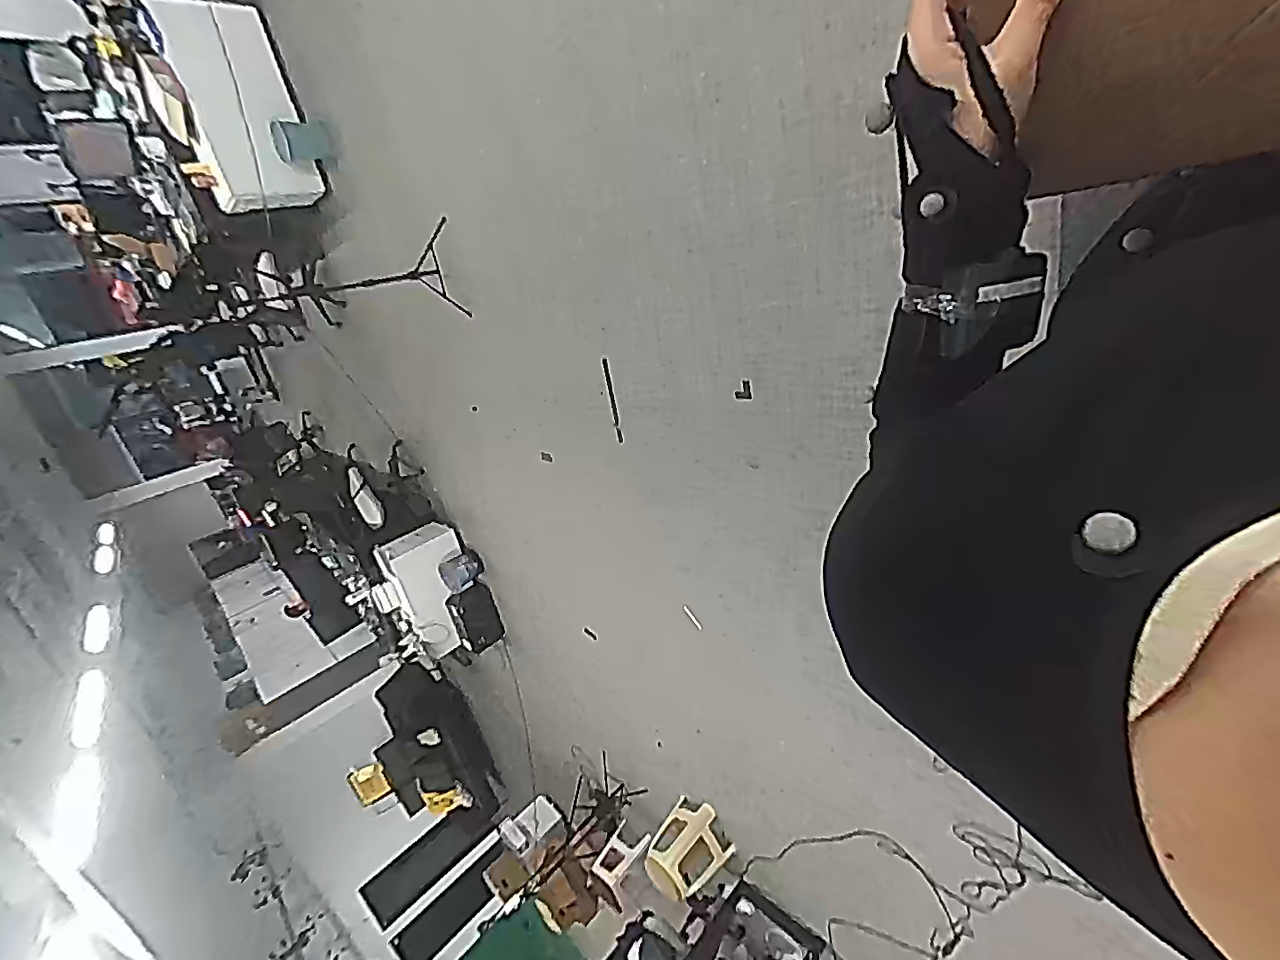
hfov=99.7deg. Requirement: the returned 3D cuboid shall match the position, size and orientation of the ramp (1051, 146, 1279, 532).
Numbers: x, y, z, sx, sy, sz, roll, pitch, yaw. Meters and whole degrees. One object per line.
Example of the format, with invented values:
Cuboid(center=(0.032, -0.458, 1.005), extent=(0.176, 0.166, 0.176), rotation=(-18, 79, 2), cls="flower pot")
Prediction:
Cuboid(center=(1.054, -0.316, 0.976), extent=(0.509, 0.206, 0.991), rotation=(7, 120, 45), cls="ramp")
